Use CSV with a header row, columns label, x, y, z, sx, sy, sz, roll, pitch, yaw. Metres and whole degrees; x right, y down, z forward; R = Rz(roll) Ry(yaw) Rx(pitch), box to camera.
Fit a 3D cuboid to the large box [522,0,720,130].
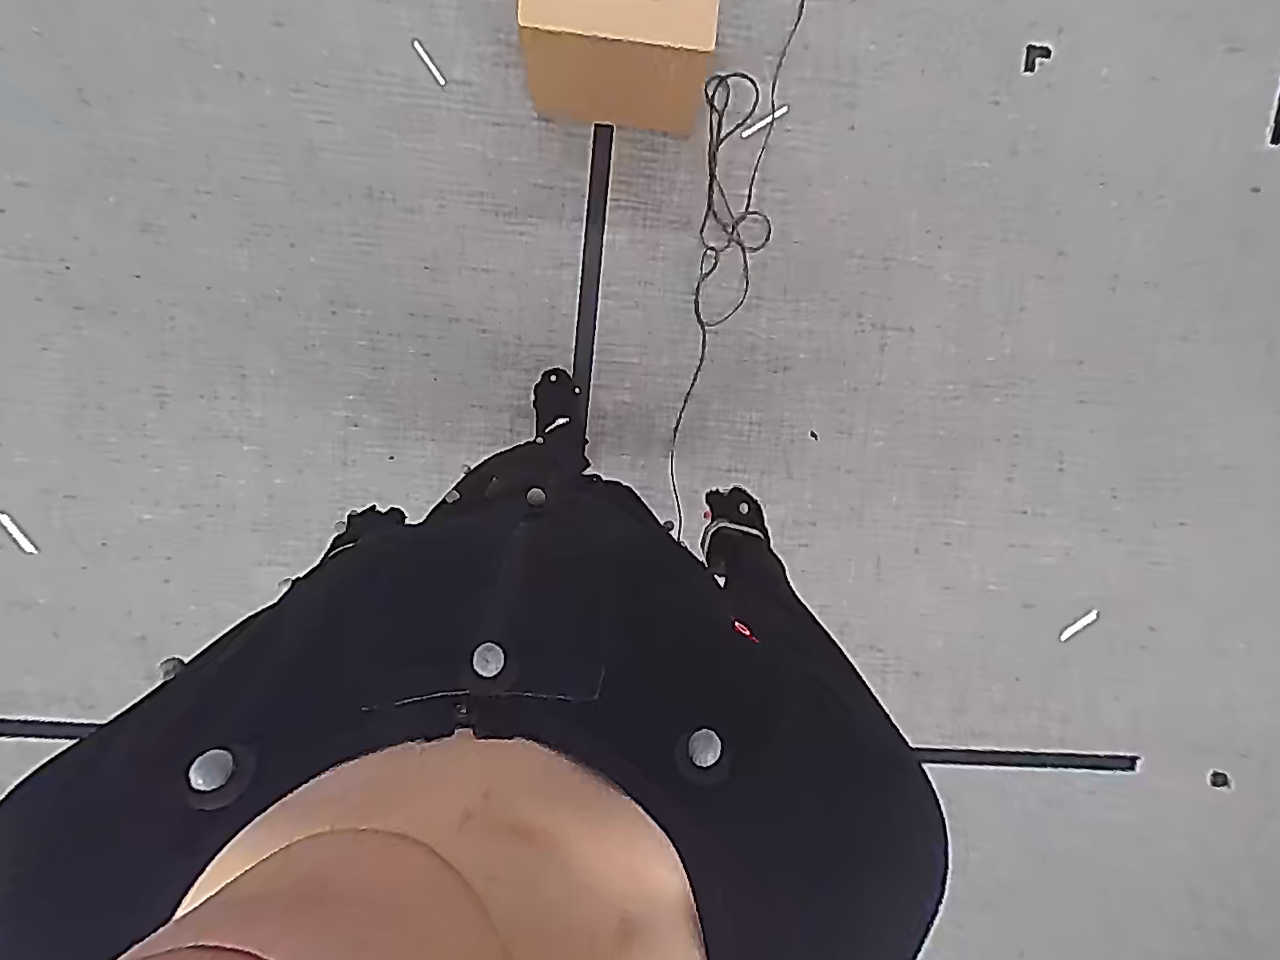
label,x,y,z,sx,sy,sz,roll,pitch,yaw
large box,-0.041,-1.061,1.235,0.408,0.320,0.320,5,94,-4
